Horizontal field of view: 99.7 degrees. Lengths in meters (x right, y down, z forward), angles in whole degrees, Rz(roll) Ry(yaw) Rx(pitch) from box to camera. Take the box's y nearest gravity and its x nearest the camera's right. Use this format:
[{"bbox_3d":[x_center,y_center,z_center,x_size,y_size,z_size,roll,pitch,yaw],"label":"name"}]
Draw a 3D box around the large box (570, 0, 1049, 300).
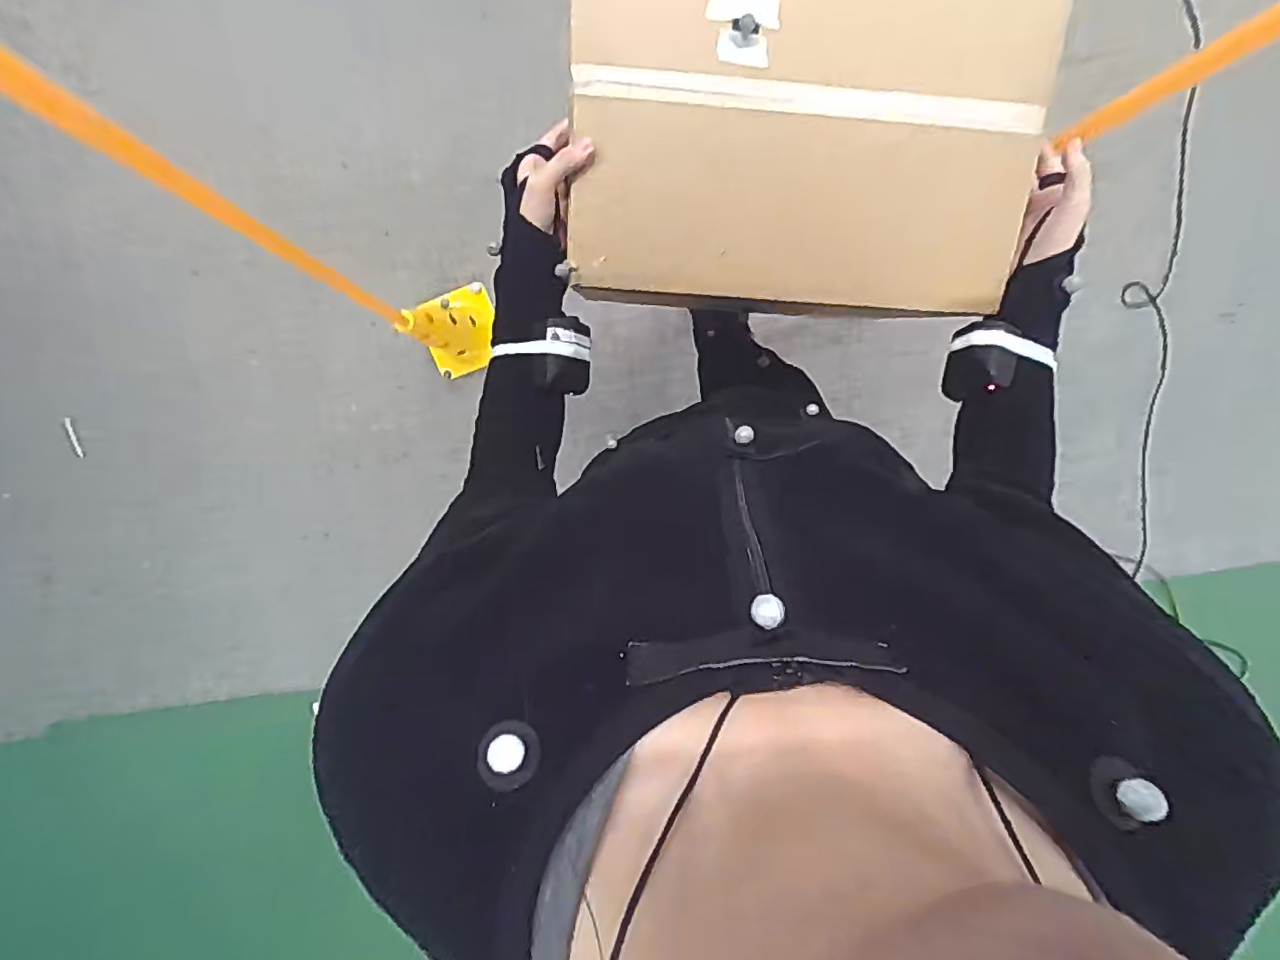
[{"bbox_3d":[0.137,-0.374,0.609,0.408,0.320,0.320,3,105,-3],"label":"large box"}]
